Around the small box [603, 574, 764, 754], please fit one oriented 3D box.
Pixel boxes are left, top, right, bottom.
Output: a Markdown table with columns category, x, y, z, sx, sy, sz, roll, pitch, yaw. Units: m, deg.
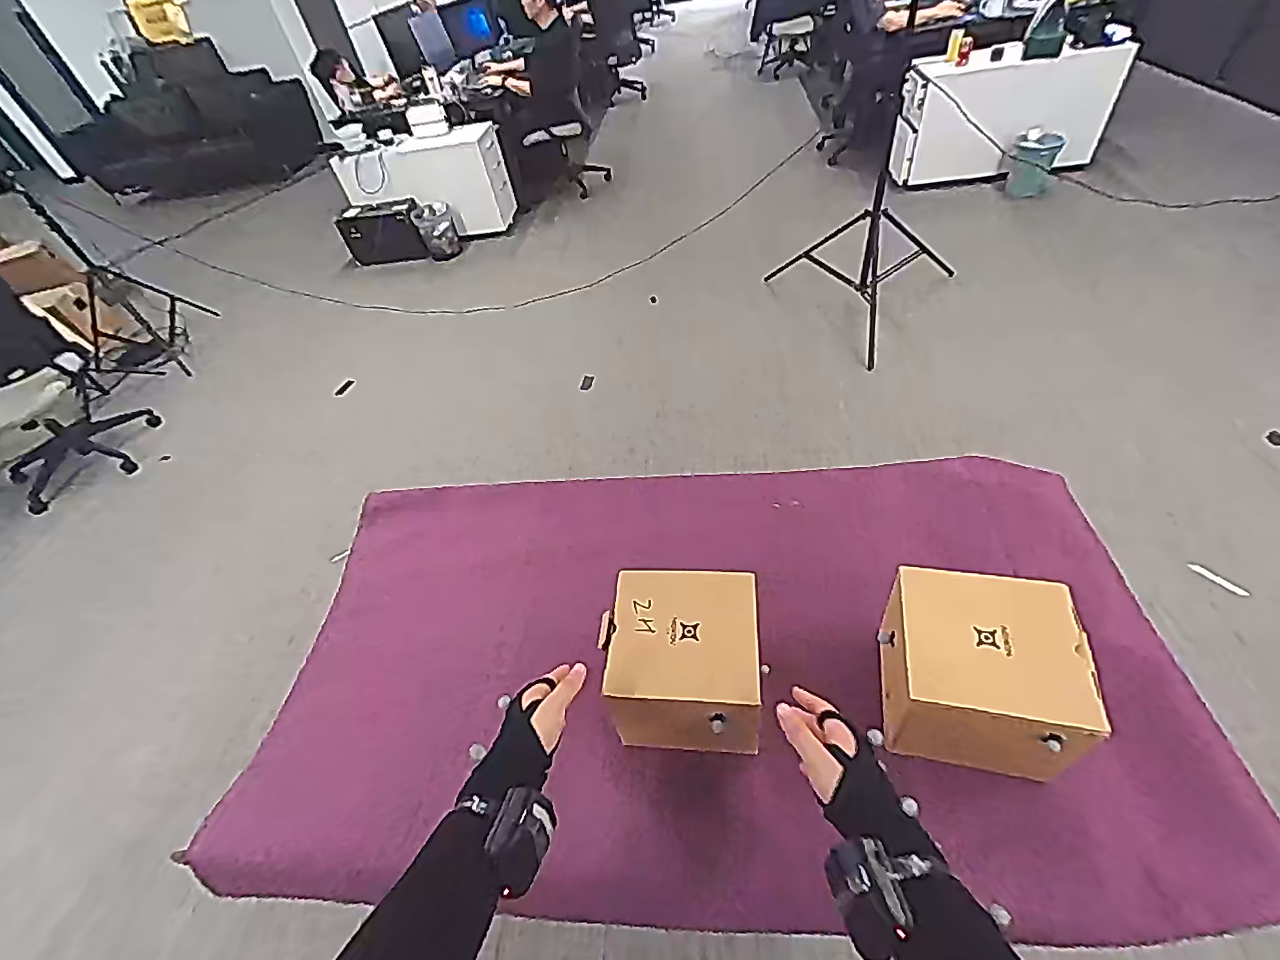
| category | x | y | z | sx | sy | sz | roll | pitch | yaw |
| --- | --- | --- | --- | --- | --- | --- | --- | --- | --- |
| small box | 0.063 | 0.236 | 0.692 | 0.179 | 0.176 | 0.168 | -2 | 47 | 10 |

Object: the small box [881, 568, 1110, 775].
| category | x | y | z | sx | sy | sz | roll | pitch | yaw |
| --- | --- | --- | --- | --- | --- | --- | --- | --- | --- |
| small box | 0.389 | 0.225 | 0.636 | 0.179 | 0.176 | 0.168 | 4 | 48 | 15 |
